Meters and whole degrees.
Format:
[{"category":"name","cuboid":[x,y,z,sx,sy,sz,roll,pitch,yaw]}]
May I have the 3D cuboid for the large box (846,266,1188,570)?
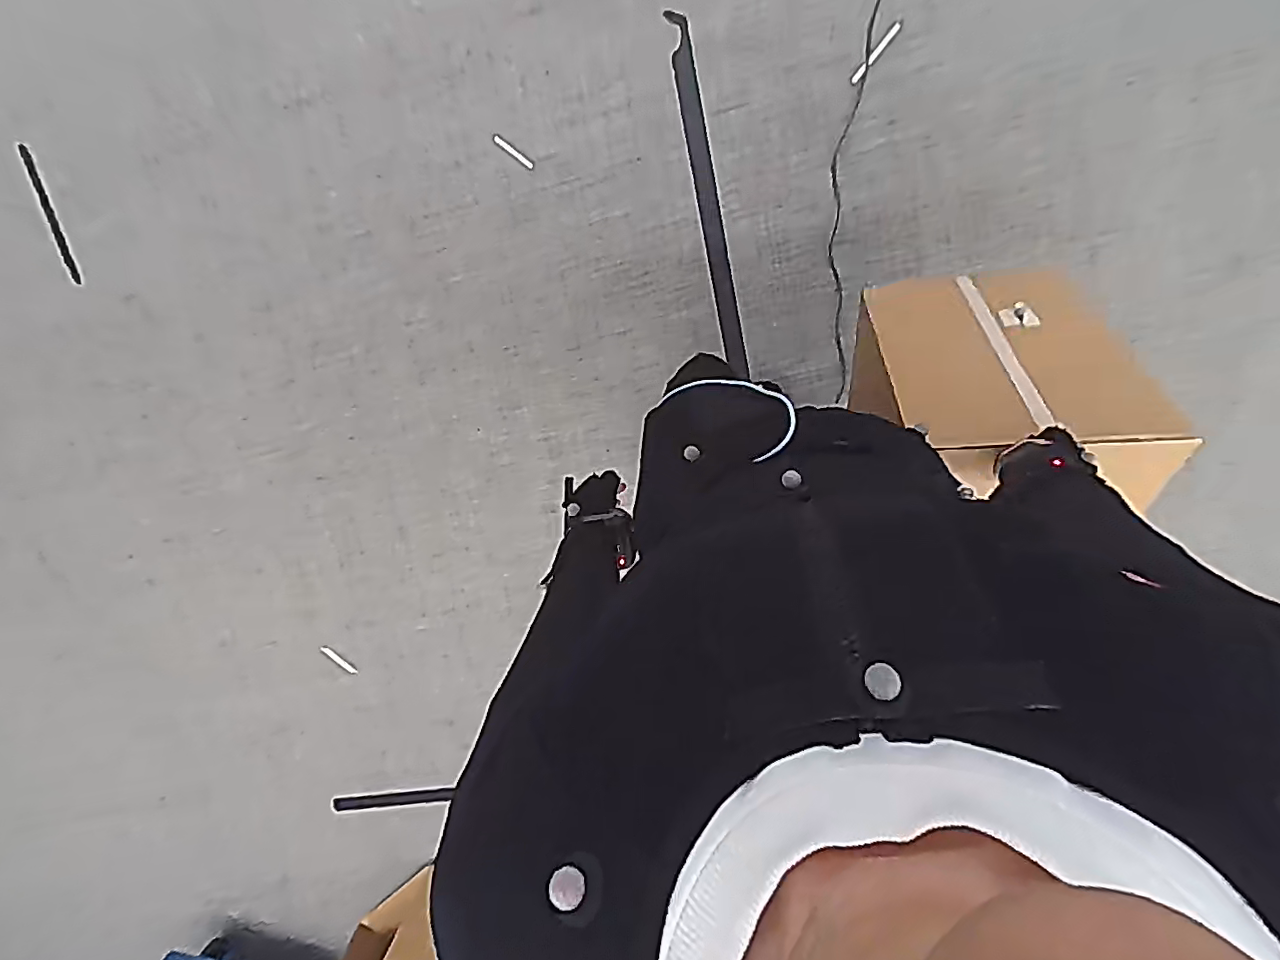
[{"category":"large box","cuboid":[0.546,-0.100,0.904,0.320,0.408,0.320,-2,138,11]}]
